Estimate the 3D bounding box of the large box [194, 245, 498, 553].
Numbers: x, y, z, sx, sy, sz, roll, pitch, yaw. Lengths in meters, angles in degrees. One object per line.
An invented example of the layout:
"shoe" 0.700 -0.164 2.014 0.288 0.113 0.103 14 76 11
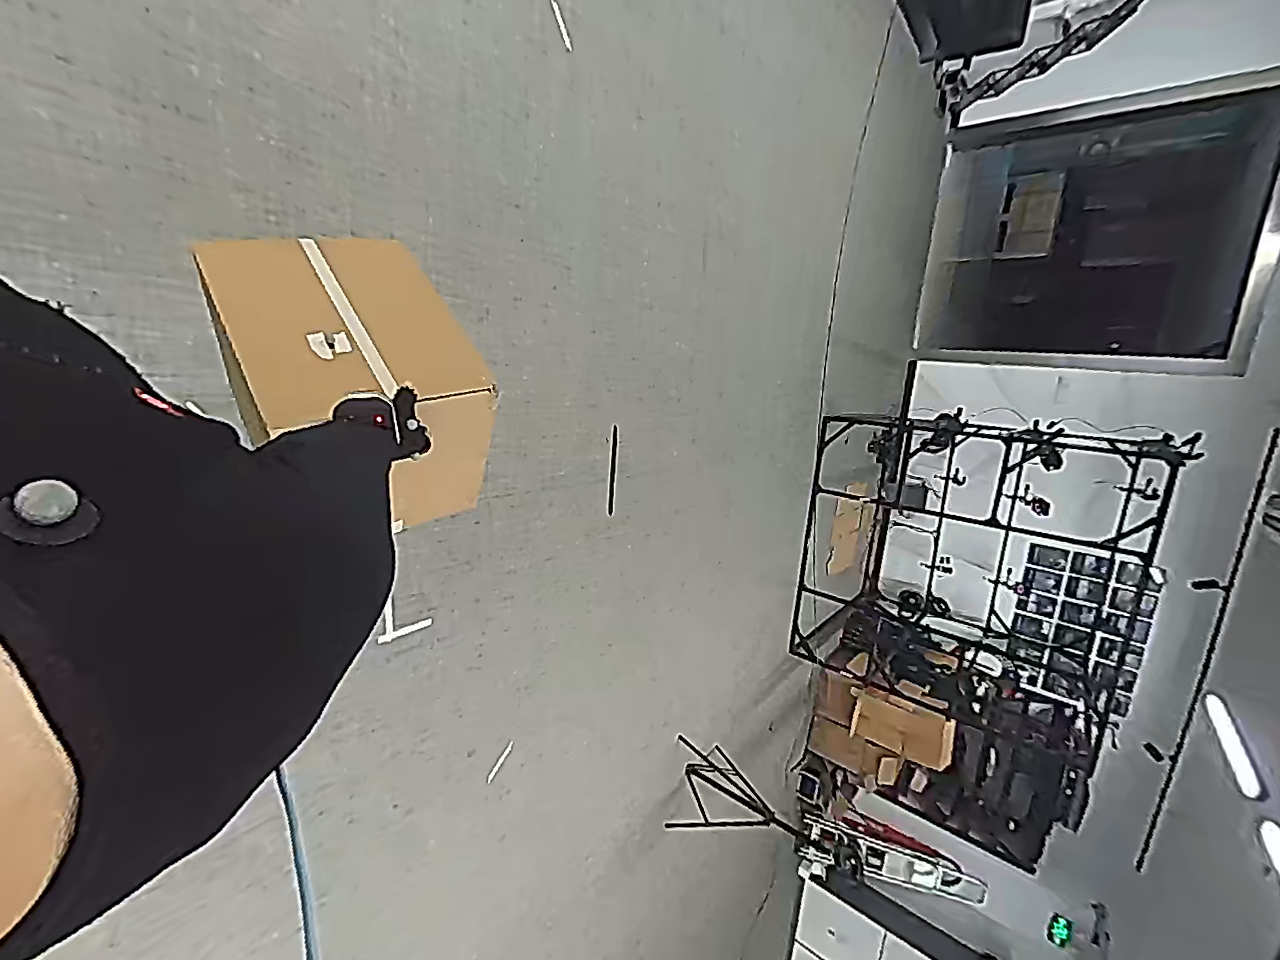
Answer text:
"large box" -0.503 -0.153 0.941 0.320 0.408 0.320 -20 153 -37
